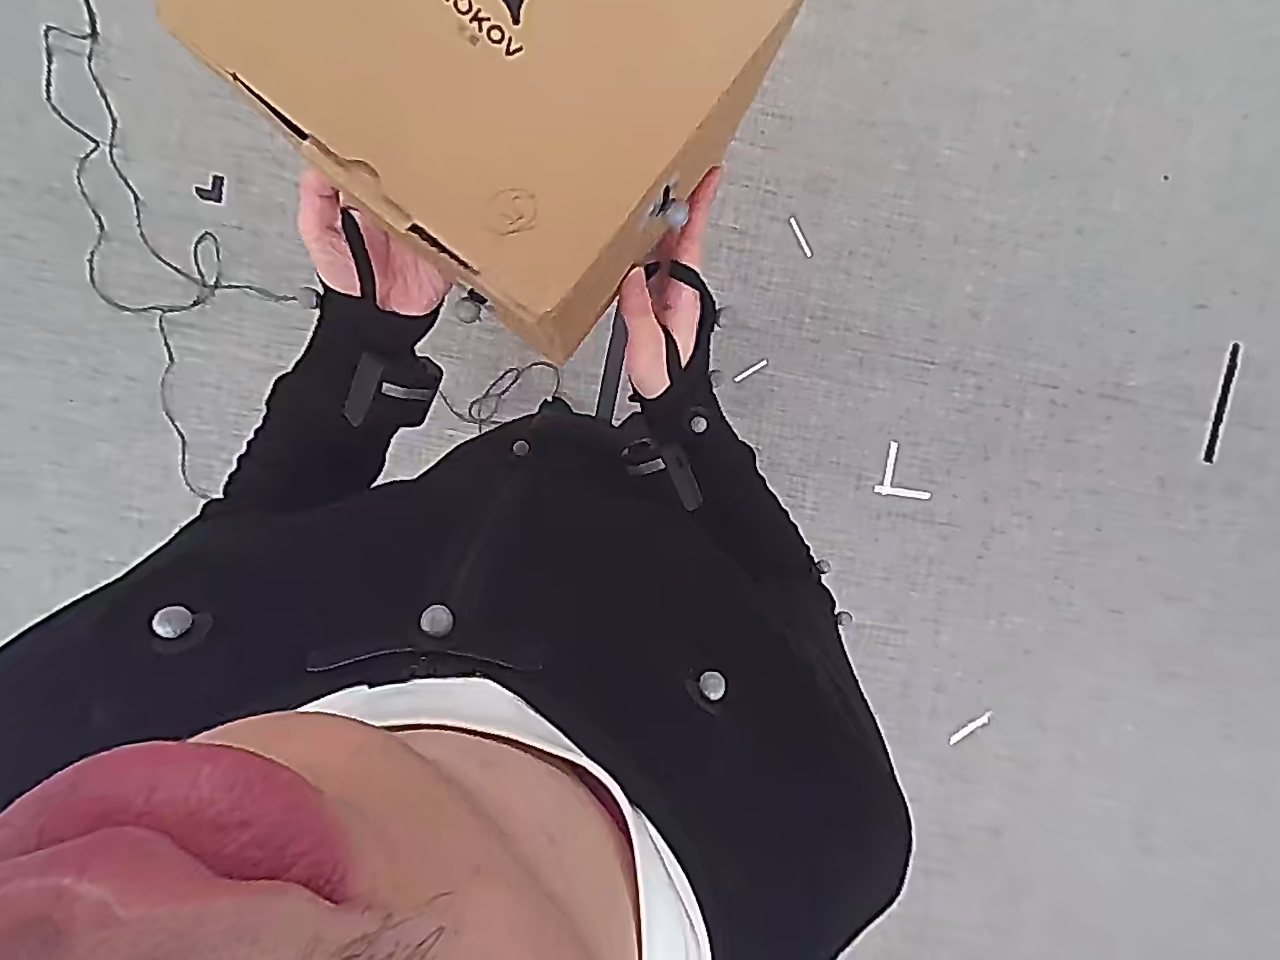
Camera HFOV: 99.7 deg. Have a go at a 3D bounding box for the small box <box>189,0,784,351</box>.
[{"bbox_3d":[-0.060,-0.190,0.286,0.168,0.176,0.179,36,90,-9],"label":"small box"}]
